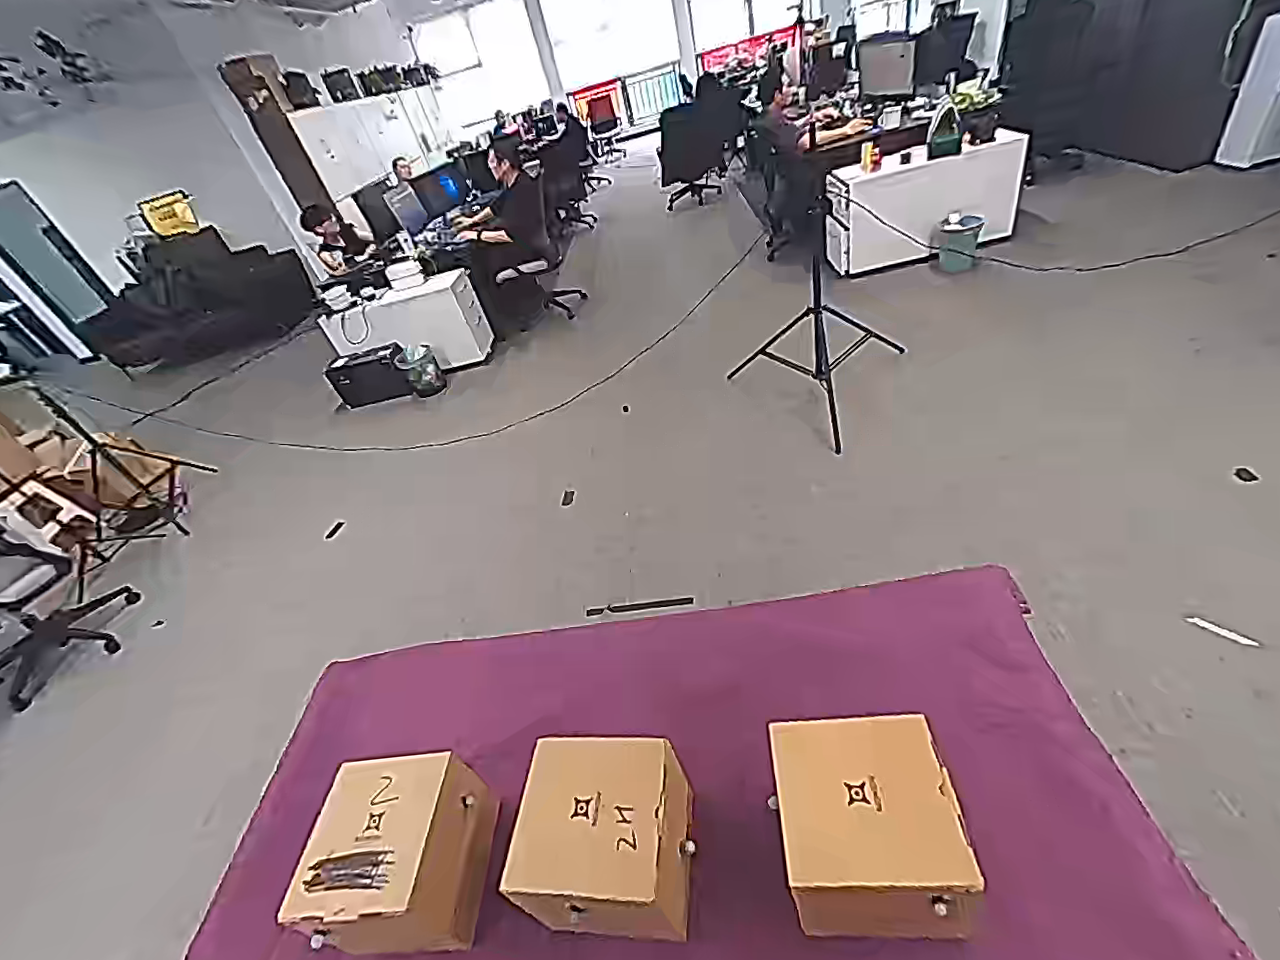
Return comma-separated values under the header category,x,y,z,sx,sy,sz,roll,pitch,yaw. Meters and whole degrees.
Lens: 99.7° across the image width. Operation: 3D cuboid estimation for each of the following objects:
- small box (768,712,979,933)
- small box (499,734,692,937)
category,x,y,z,sx,sy,sz,roll,pitch,yaw
small box,0.251,0.388,0.614,0.179,0.176,0.168,-9,37,11
small box,-0.040,0.436,0.668,0.179,0.176,0.168,-6,39,14
